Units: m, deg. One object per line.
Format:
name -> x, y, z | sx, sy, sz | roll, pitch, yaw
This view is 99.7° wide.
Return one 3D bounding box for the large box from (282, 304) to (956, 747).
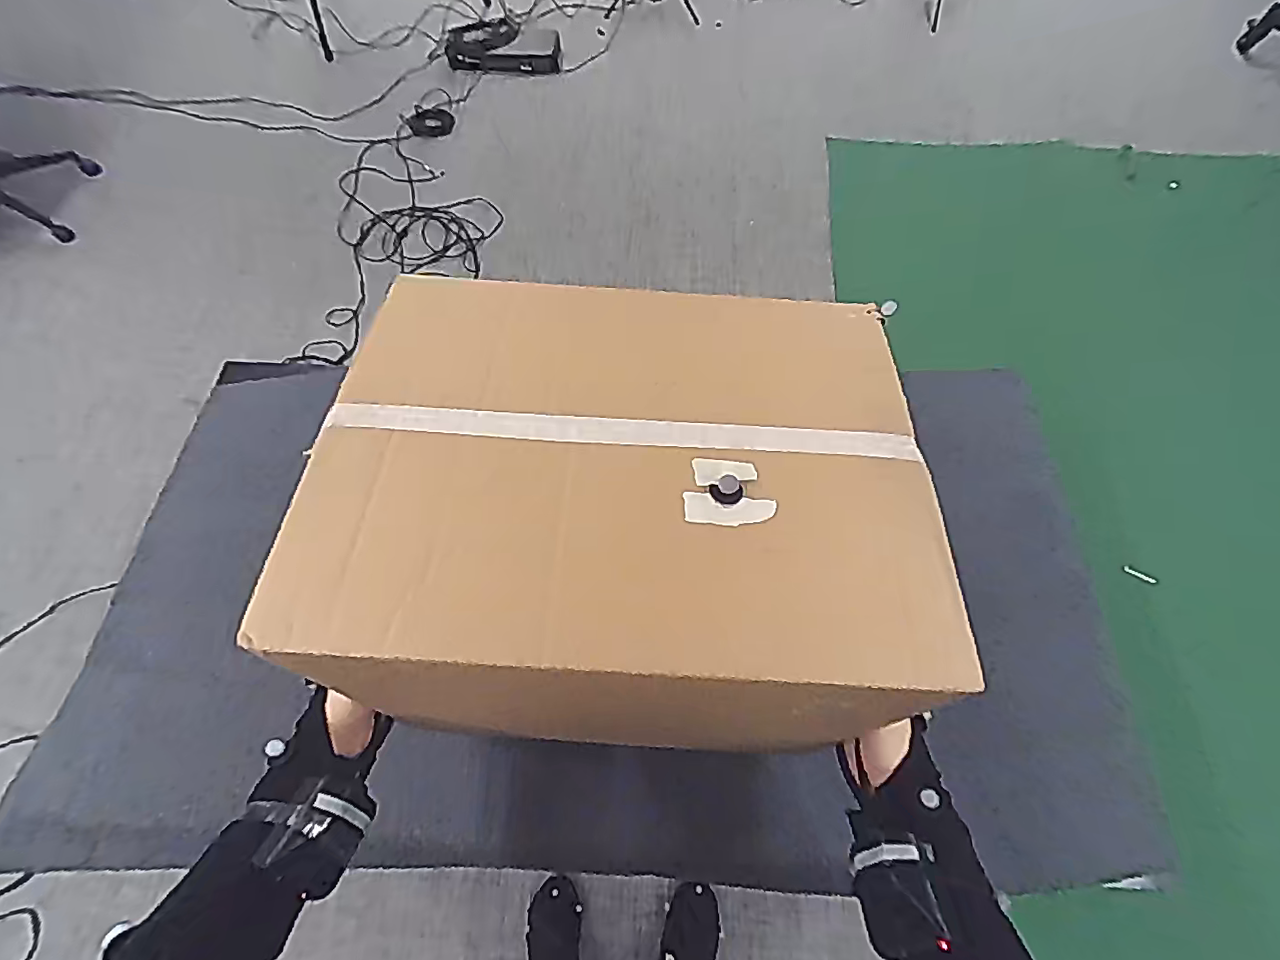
large box -> -0.013, 0.063, 0.518 | 0.408, 0.320, 0.320 | 3, 58, -1
